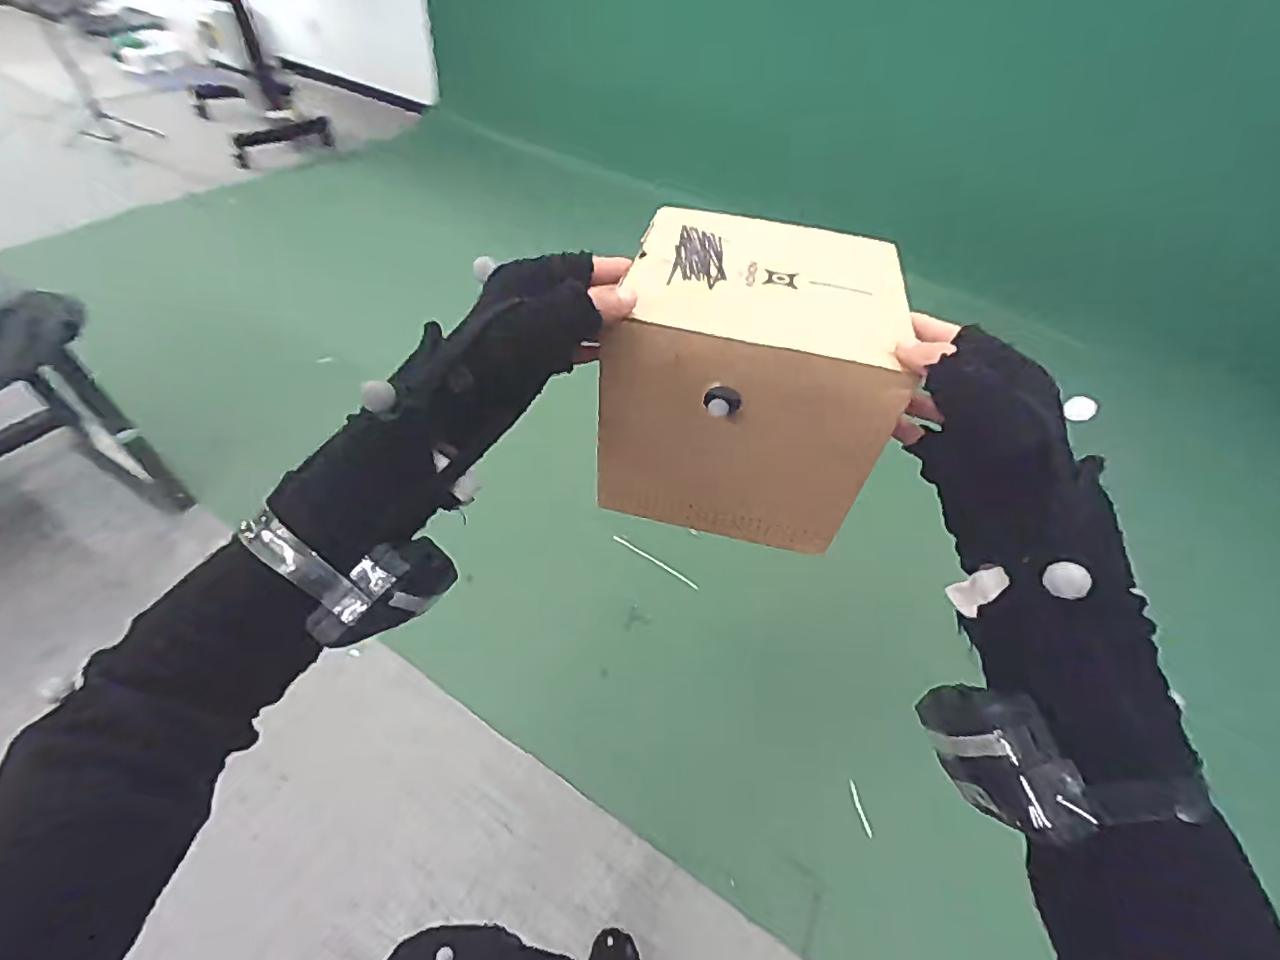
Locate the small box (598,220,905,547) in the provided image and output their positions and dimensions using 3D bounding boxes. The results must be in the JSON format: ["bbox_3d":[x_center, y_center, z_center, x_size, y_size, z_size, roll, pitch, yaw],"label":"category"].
[{"bbox_3d":[0.071,-0.070,0.411,0.179,0.176,0.168,12,47,5],"label":"small box"}]
